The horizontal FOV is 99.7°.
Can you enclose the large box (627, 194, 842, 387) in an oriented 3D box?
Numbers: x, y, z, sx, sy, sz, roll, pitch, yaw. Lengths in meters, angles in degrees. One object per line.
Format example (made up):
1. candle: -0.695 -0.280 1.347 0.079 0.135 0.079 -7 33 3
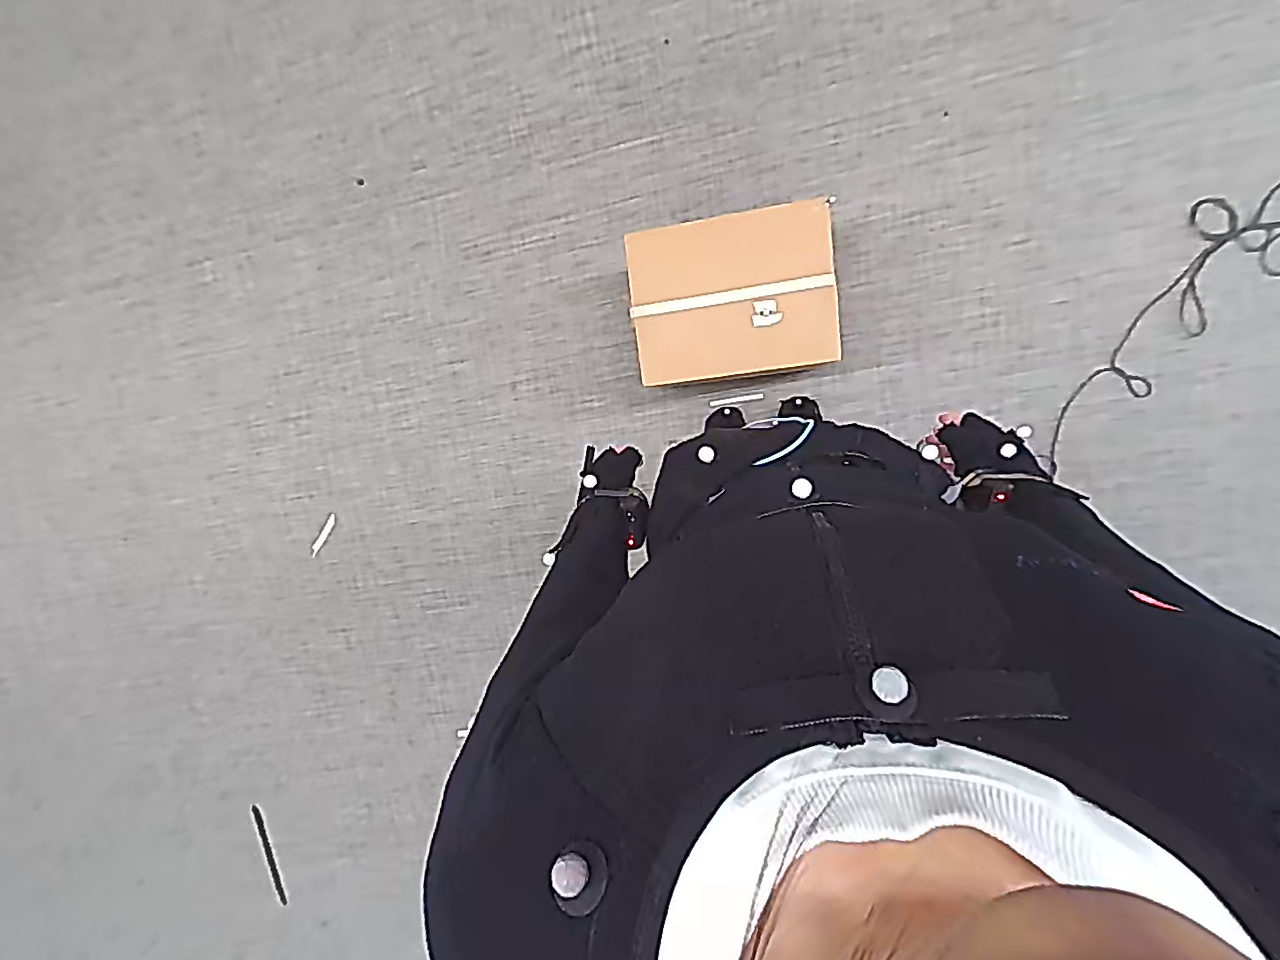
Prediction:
1. large box: 0.210 -0.398 1.235 0.408 0.320 0.320 -6 98 10
